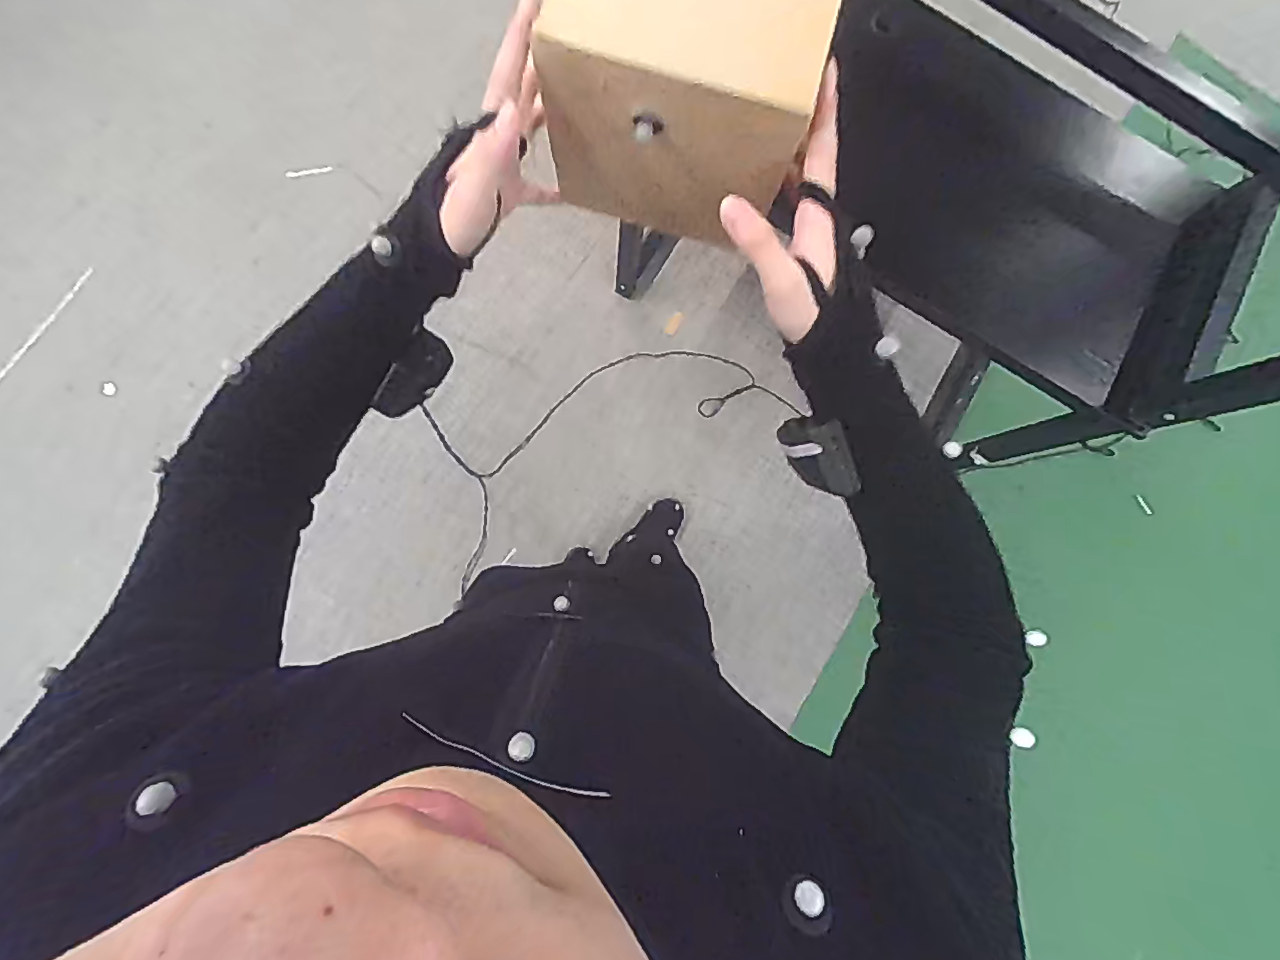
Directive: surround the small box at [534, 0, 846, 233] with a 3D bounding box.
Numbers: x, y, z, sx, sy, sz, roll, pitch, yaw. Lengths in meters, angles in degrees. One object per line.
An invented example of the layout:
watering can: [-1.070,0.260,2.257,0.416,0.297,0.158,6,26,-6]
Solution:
small box: [0.041,-0.313,0.397,0.179,0.176,0.168,15,86,-1]
